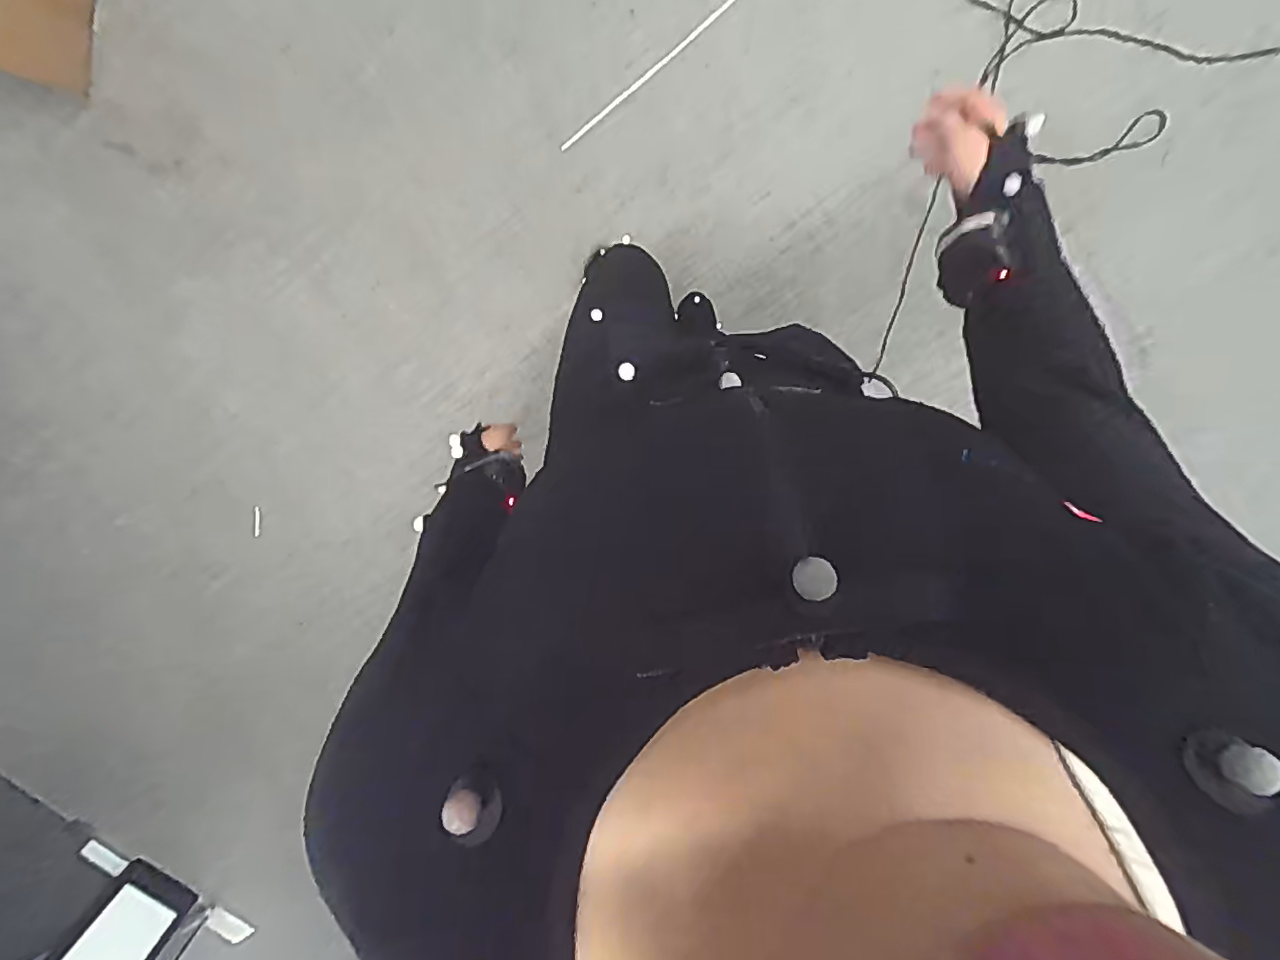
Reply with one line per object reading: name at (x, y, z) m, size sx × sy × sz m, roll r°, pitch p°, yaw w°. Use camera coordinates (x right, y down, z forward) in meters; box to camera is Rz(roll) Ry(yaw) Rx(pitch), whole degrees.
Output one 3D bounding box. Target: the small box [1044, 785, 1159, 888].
small box at (1.345, 1.036, 1.589) m, size 0.168 × 0.176 × 0.179 m, roll -36°, pitch 105°, yaw 13°
